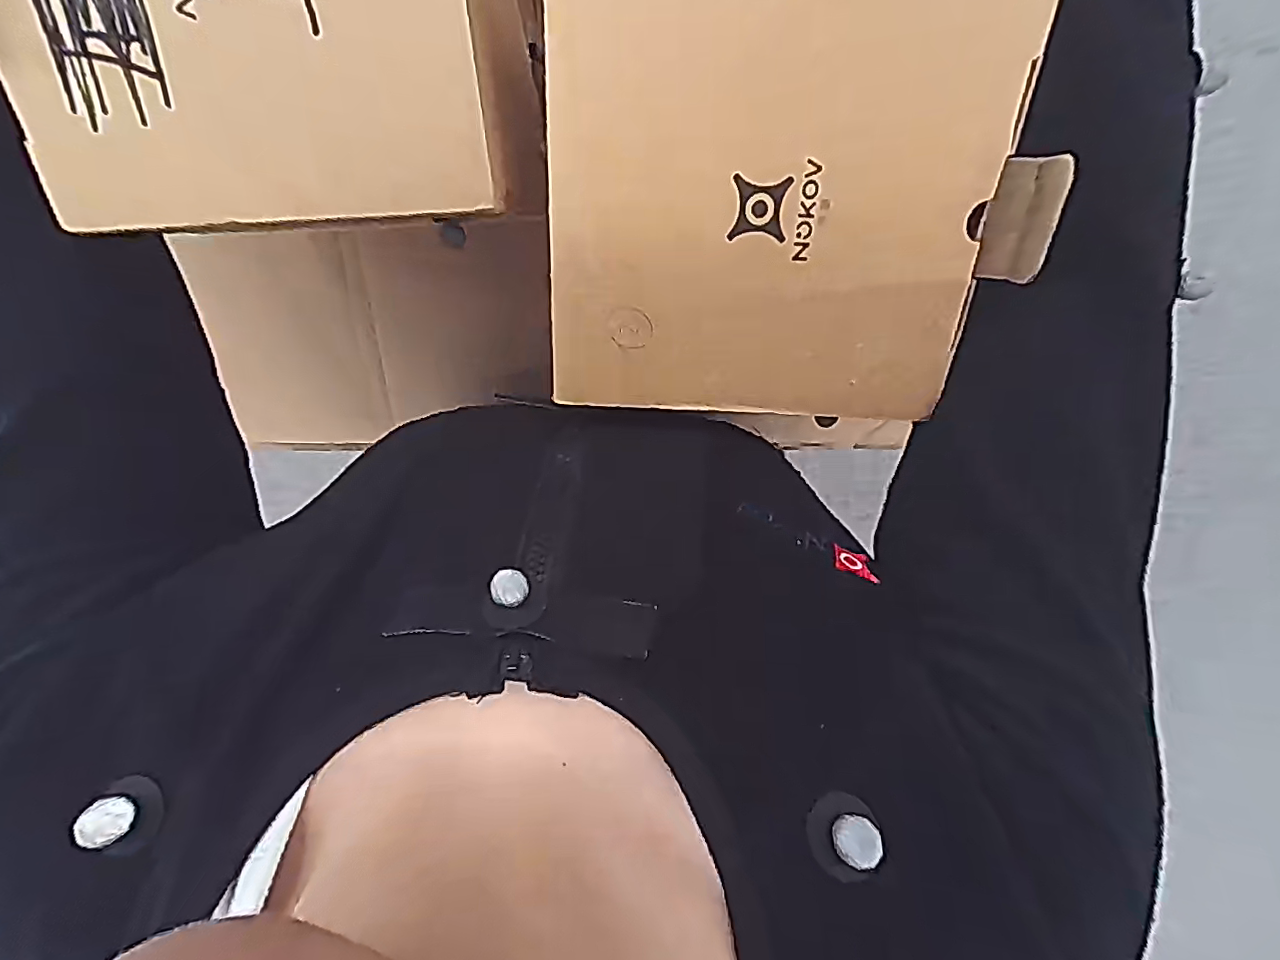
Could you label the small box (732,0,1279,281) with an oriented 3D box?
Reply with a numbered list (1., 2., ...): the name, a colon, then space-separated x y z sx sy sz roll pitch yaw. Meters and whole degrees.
1. small box: 0.154 -0.203 0.236 0.179 0.176 0.168 14 121 -6
